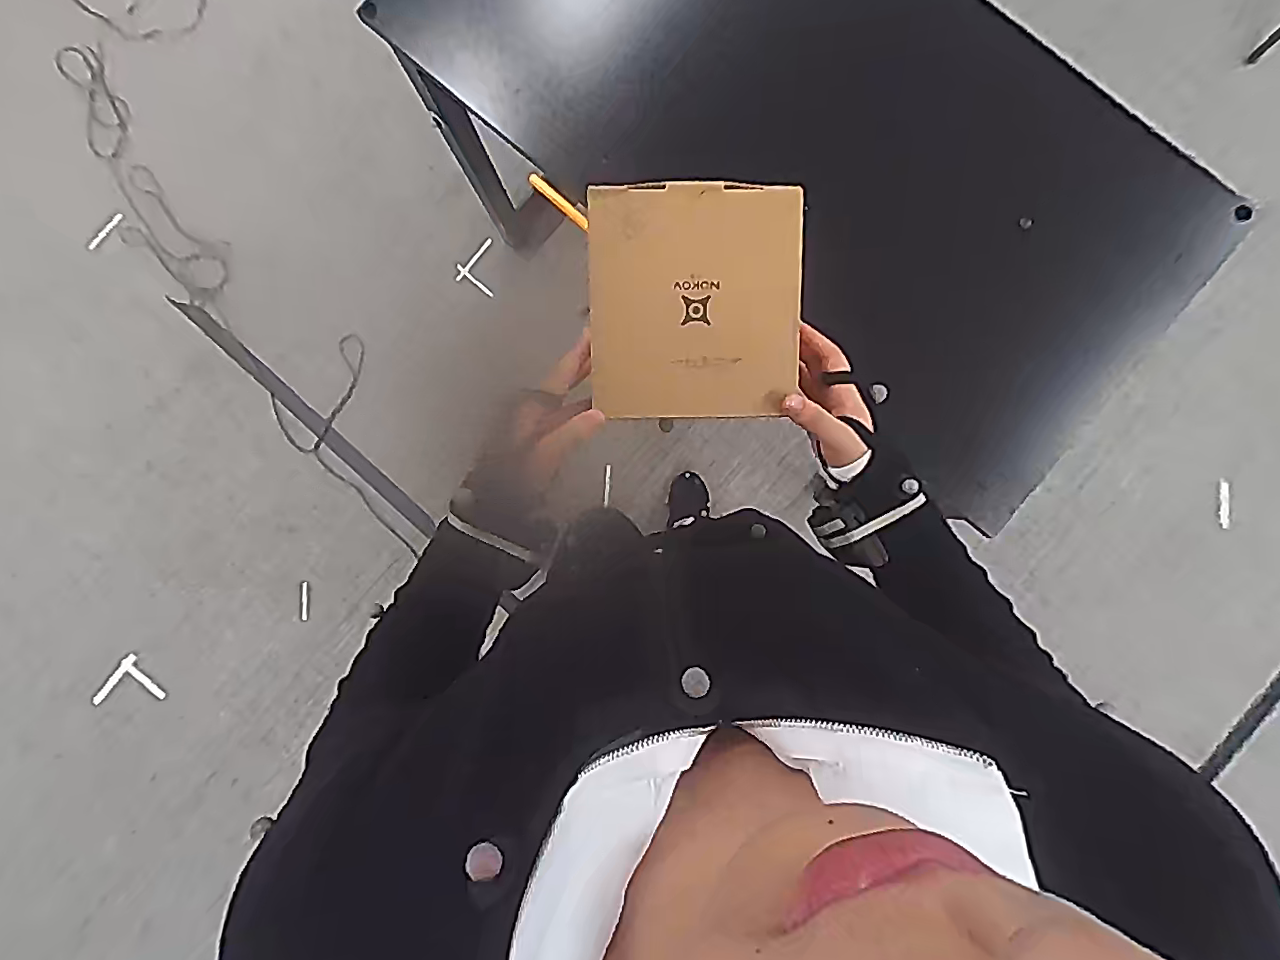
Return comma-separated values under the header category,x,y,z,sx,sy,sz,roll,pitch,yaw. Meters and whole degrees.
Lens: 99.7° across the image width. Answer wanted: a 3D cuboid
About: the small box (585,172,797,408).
category,x,y,z,sx,sy,sz,roll,pitch,yaw
small box,0.035,-0.156,0.497,0.168,0.176,0.179,-1,99,-2
